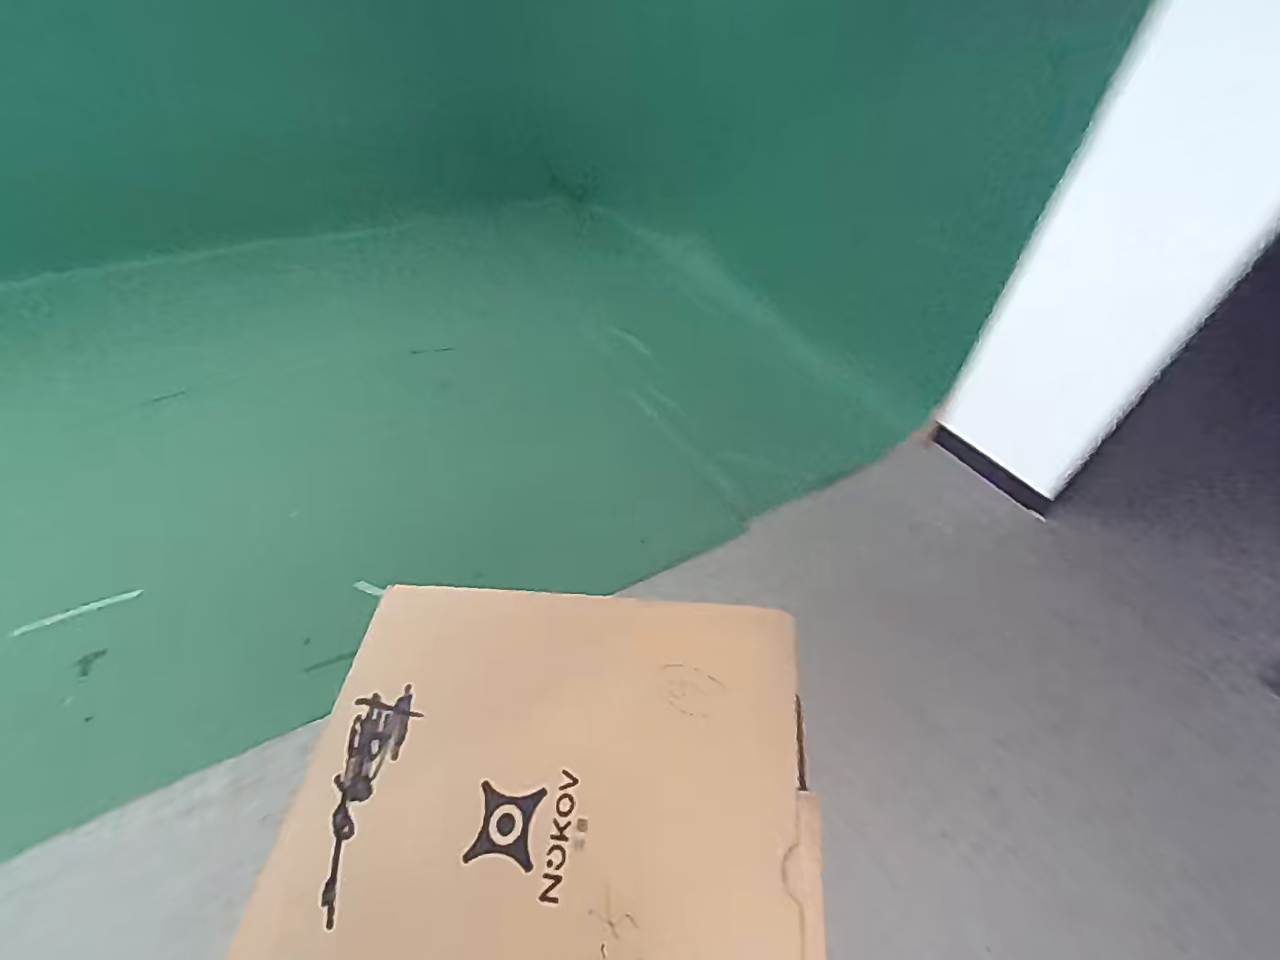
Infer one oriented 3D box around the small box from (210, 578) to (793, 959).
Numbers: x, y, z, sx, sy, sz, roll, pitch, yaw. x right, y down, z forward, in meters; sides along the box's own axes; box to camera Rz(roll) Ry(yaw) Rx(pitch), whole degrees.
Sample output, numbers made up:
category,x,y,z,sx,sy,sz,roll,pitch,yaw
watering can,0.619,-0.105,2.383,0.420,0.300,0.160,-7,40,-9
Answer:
category,x,y,z,sx,sy,sz,roll,pitch,yaw
small box,-0.033,0.161,0.243,0.179,0.176,0.168,2,53,8
